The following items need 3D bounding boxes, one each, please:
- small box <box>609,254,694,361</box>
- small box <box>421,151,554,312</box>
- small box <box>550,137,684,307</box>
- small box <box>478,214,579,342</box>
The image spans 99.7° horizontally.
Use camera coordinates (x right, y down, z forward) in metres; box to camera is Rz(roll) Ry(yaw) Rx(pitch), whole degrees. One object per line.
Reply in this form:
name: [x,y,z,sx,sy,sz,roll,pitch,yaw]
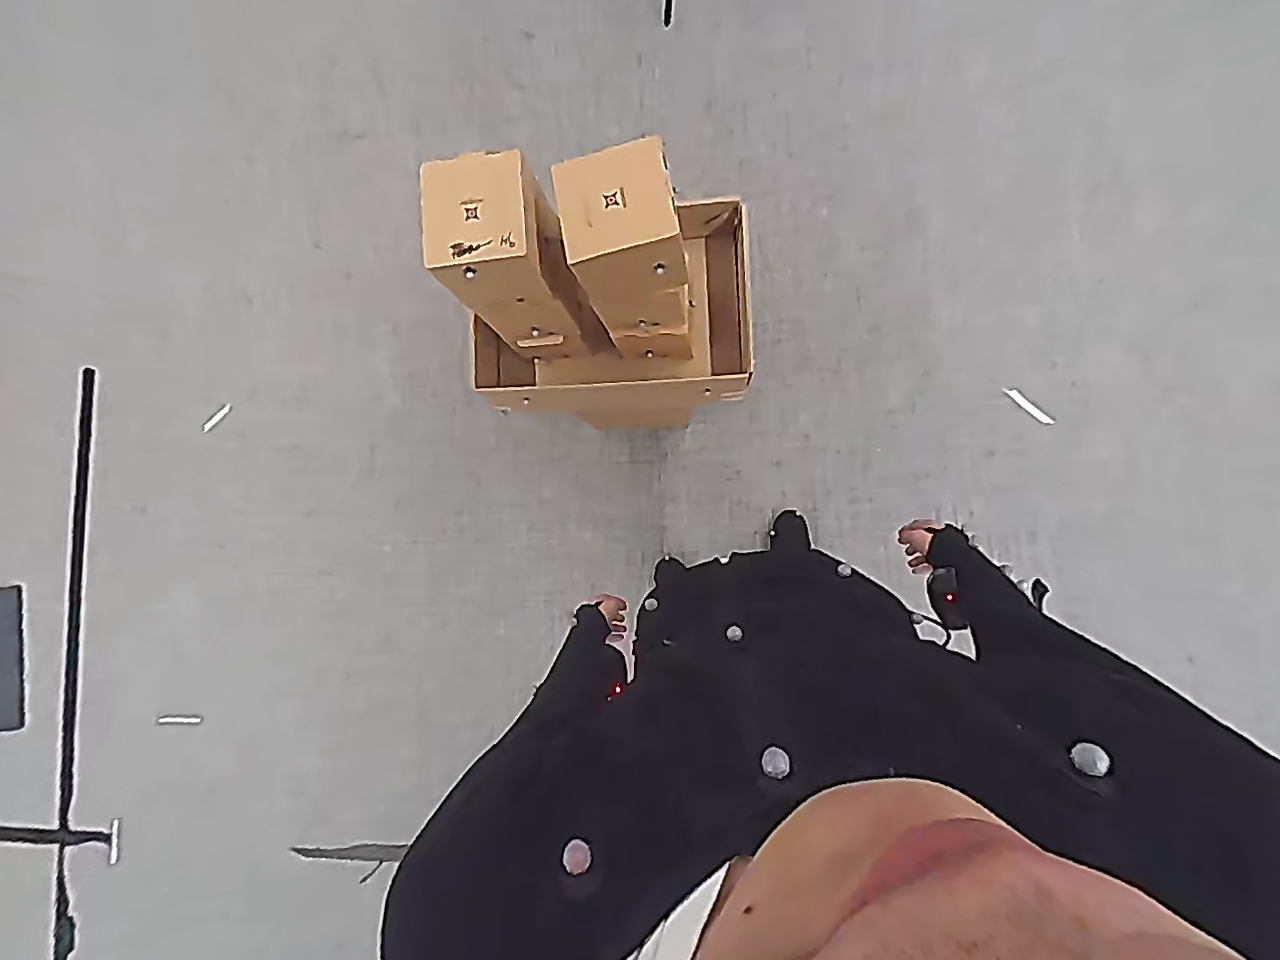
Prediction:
small box: [0.031,-0.377,1.205,0.168,0.176,0.179,0,86,10]
small box: [-0.248,-0.405,0.908,0.168,0.176,0.179,-5,83,8]
small box: [-0.027,-0.408,0.883,0.179,0.176,0.168,-12,82,8]
small box: [-0.221,-0.391,1.071,0.168,0.176,0.179,-5,85,7]
